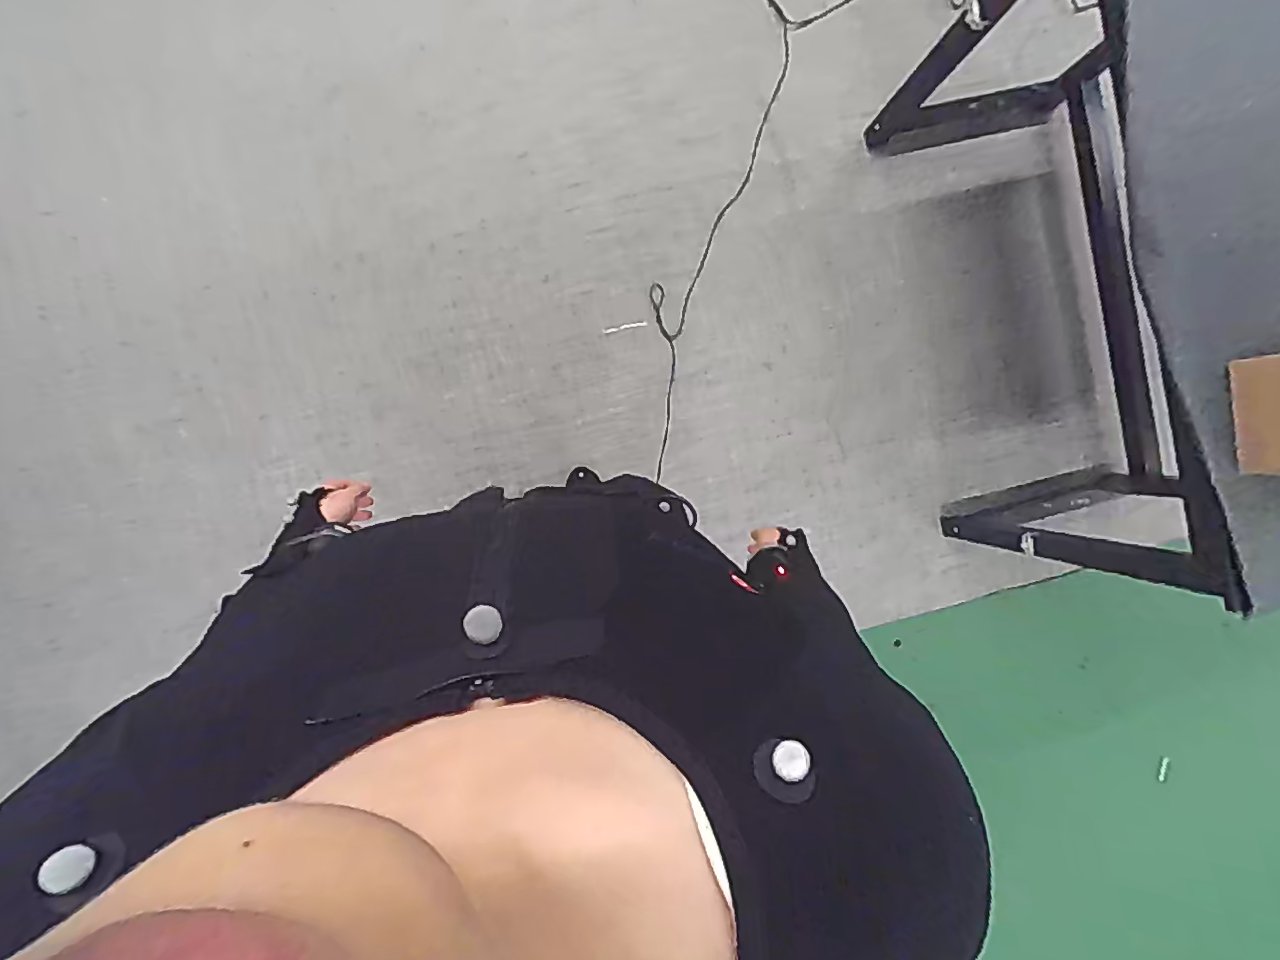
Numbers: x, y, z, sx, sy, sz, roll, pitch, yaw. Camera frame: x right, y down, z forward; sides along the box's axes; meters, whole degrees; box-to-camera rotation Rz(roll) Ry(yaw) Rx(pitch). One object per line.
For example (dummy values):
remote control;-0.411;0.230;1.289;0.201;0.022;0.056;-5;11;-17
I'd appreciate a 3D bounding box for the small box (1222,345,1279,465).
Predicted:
small box;0.992;-0.115;0.763;0.168;0.176;0.179;-9;92;-7
